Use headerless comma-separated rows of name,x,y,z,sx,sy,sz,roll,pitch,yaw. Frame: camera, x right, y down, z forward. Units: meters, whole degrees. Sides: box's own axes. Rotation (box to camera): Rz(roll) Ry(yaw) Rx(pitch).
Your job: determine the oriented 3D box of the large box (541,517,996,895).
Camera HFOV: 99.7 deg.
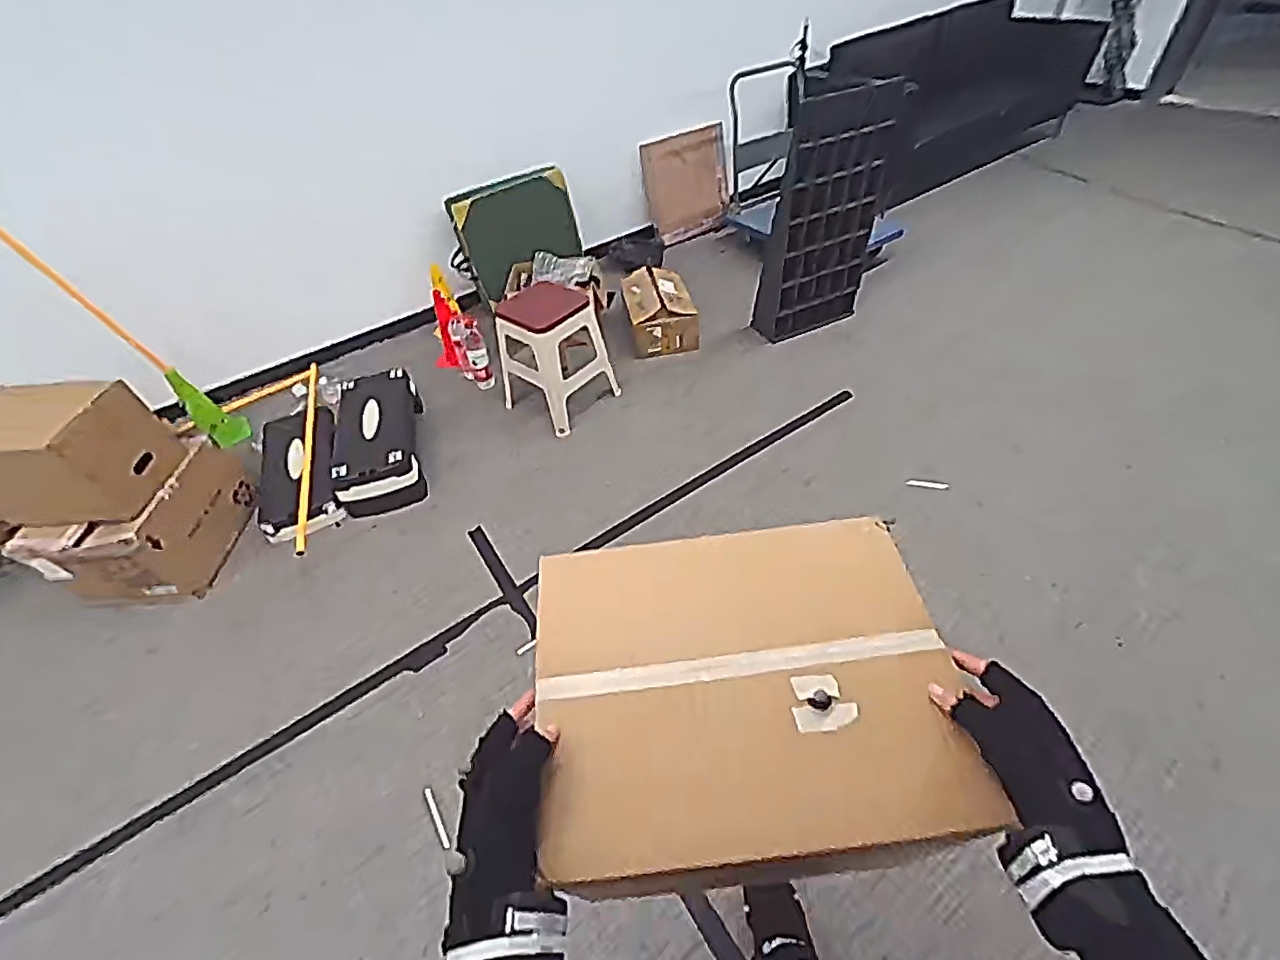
large box,0.105,0.282,0.667,0.408,0.320,0.320,-7,50,0
